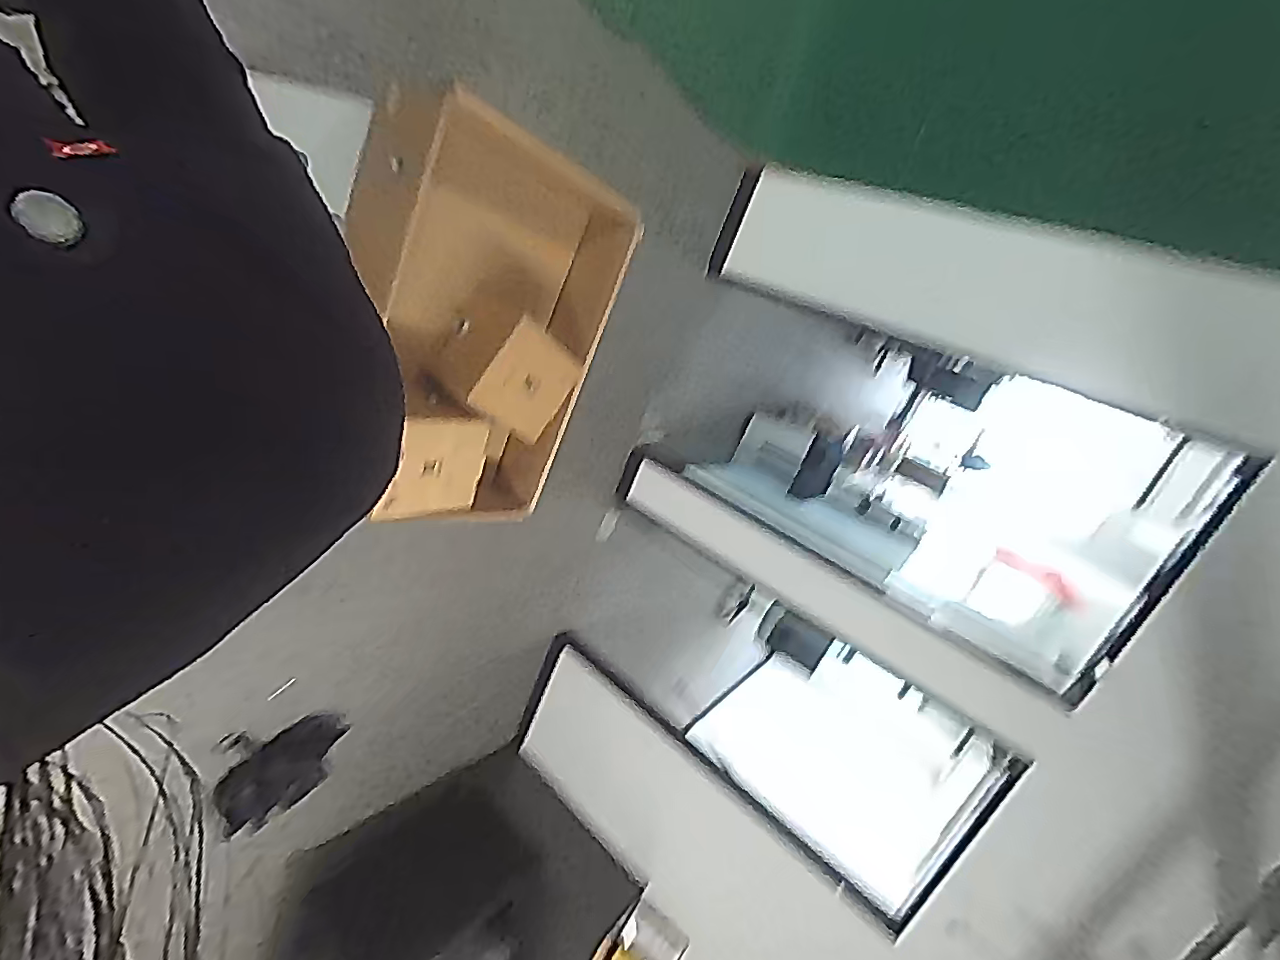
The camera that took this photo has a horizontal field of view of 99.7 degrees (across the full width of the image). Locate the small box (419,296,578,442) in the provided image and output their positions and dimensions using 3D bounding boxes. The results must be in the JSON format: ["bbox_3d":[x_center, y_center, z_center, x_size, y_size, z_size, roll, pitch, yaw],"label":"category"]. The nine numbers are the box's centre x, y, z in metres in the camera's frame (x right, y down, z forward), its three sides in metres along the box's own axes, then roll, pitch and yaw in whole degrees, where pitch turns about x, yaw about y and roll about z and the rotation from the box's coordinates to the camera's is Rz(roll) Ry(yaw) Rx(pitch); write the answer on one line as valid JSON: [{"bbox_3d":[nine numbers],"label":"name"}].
[{"bbox_3d":[-0.251,-0.200,0.964,0.168,0.176,0.179,-56,145,-3],"label":"small box"}]
